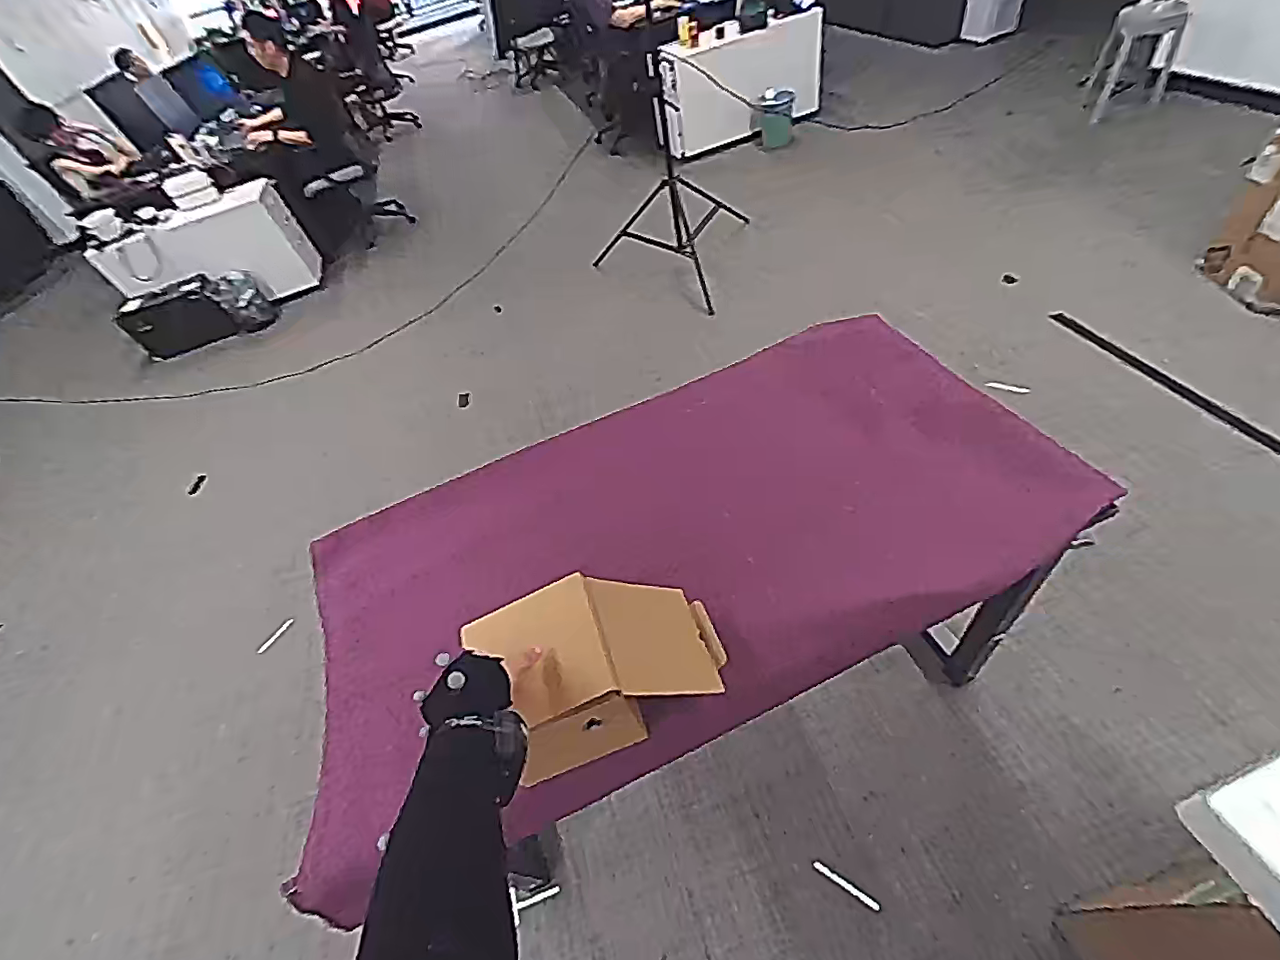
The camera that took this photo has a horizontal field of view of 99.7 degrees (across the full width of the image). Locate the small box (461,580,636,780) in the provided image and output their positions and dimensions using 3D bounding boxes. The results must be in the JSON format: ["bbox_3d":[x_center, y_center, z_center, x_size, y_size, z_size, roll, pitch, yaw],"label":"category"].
[{"bbox_3d":[-0.113,0.266,0.713,0.179,0.176,0.168,-21,48,-3],"label":"small box"}]
